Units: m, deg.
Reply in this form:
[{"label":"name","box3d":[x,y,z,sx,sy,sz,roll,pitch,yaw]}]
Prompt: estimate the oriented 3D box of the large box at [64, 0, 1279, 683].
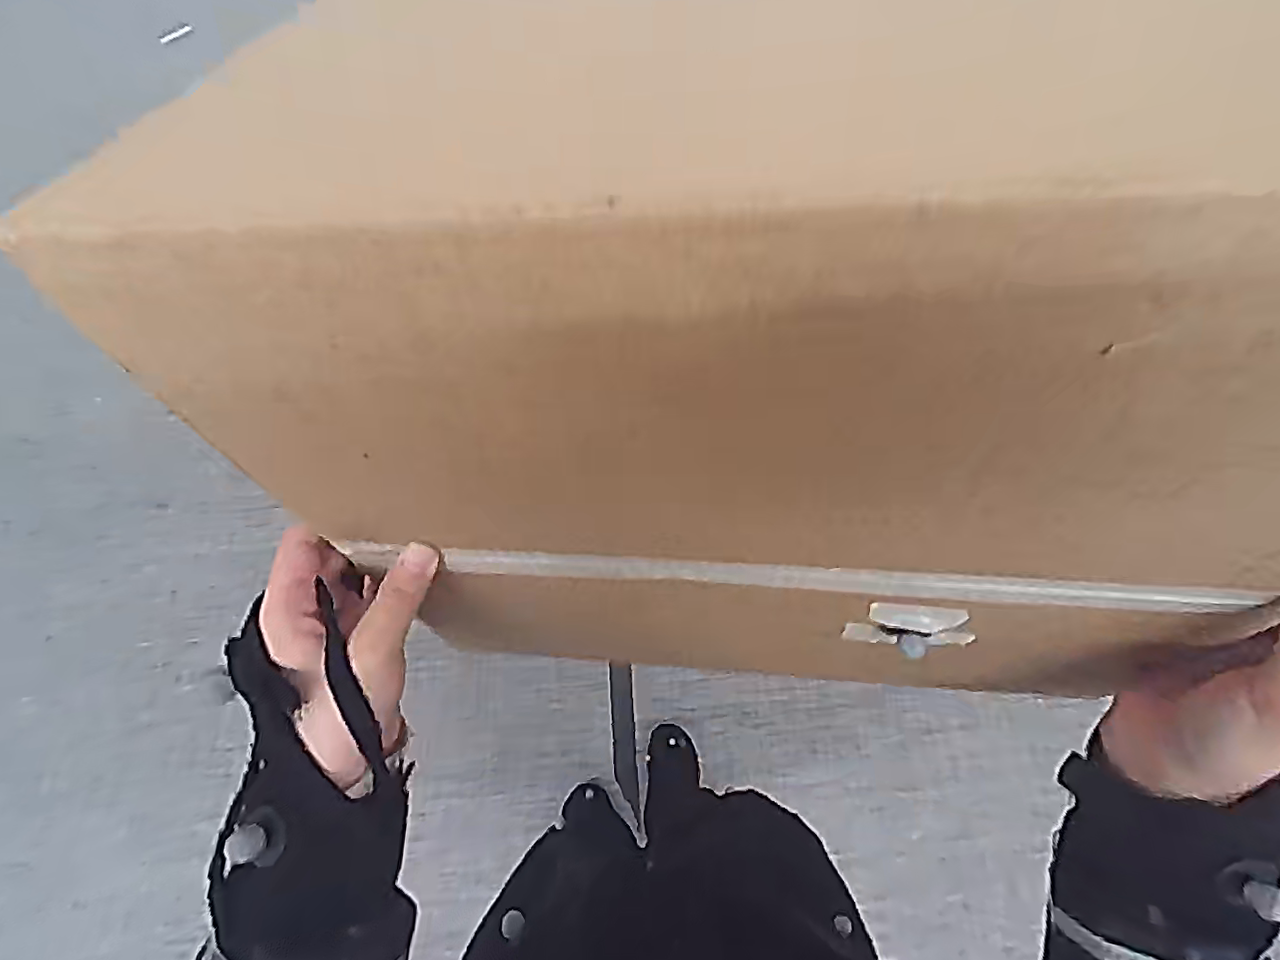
[{"label":"large box","box3d":[0.067,-0.088,0.320,0.408,0.320,0.320,1,56,8]}]
